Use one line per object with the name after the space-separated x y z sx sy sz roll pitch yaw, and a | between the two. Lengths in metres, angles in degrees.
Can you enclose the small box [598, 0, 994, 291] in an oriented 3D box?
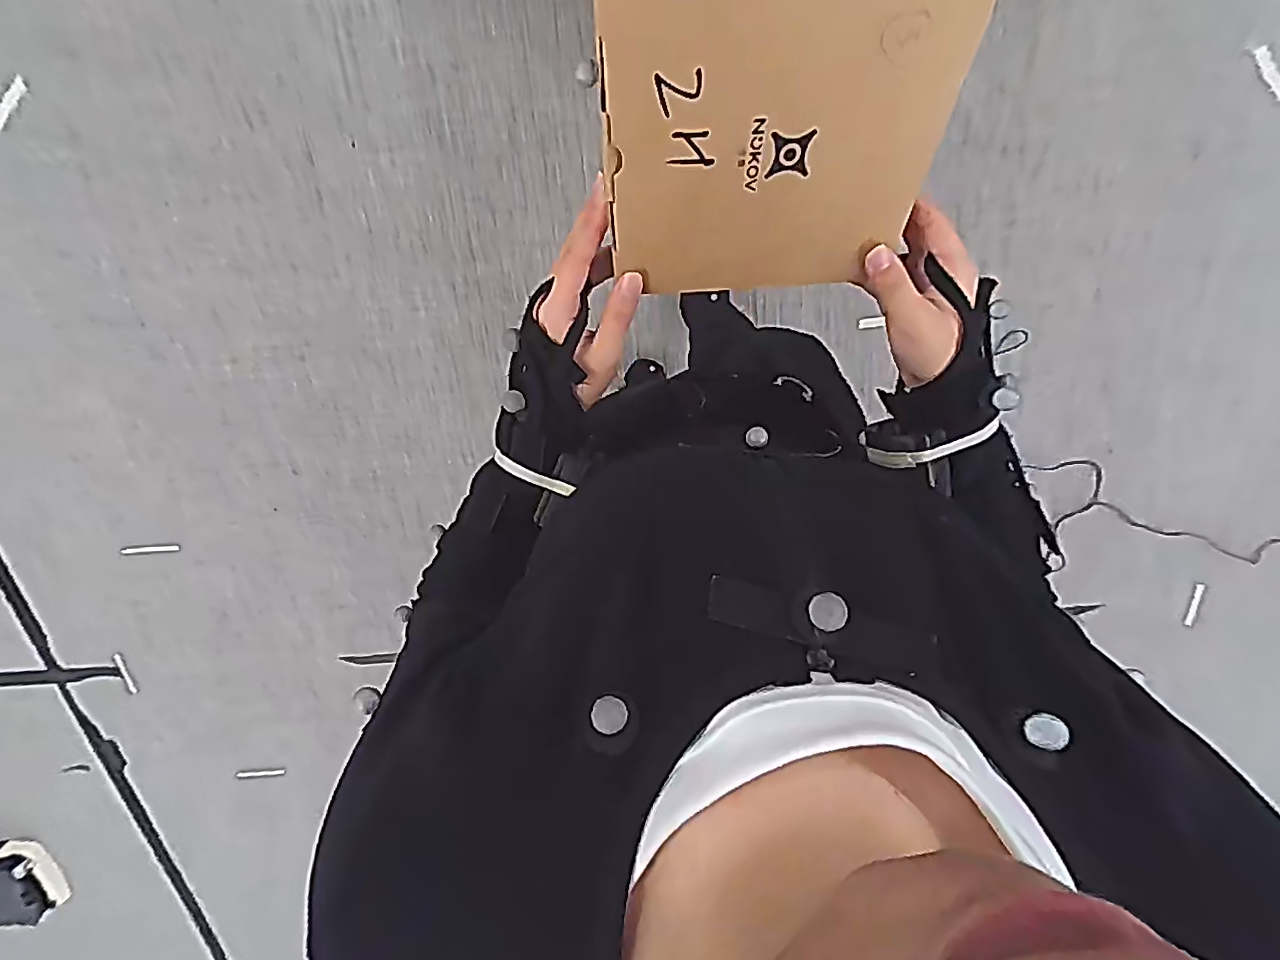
0.066 -0.241 0.331 0.179 0.176 0.168 -4 145 -1 | small box
